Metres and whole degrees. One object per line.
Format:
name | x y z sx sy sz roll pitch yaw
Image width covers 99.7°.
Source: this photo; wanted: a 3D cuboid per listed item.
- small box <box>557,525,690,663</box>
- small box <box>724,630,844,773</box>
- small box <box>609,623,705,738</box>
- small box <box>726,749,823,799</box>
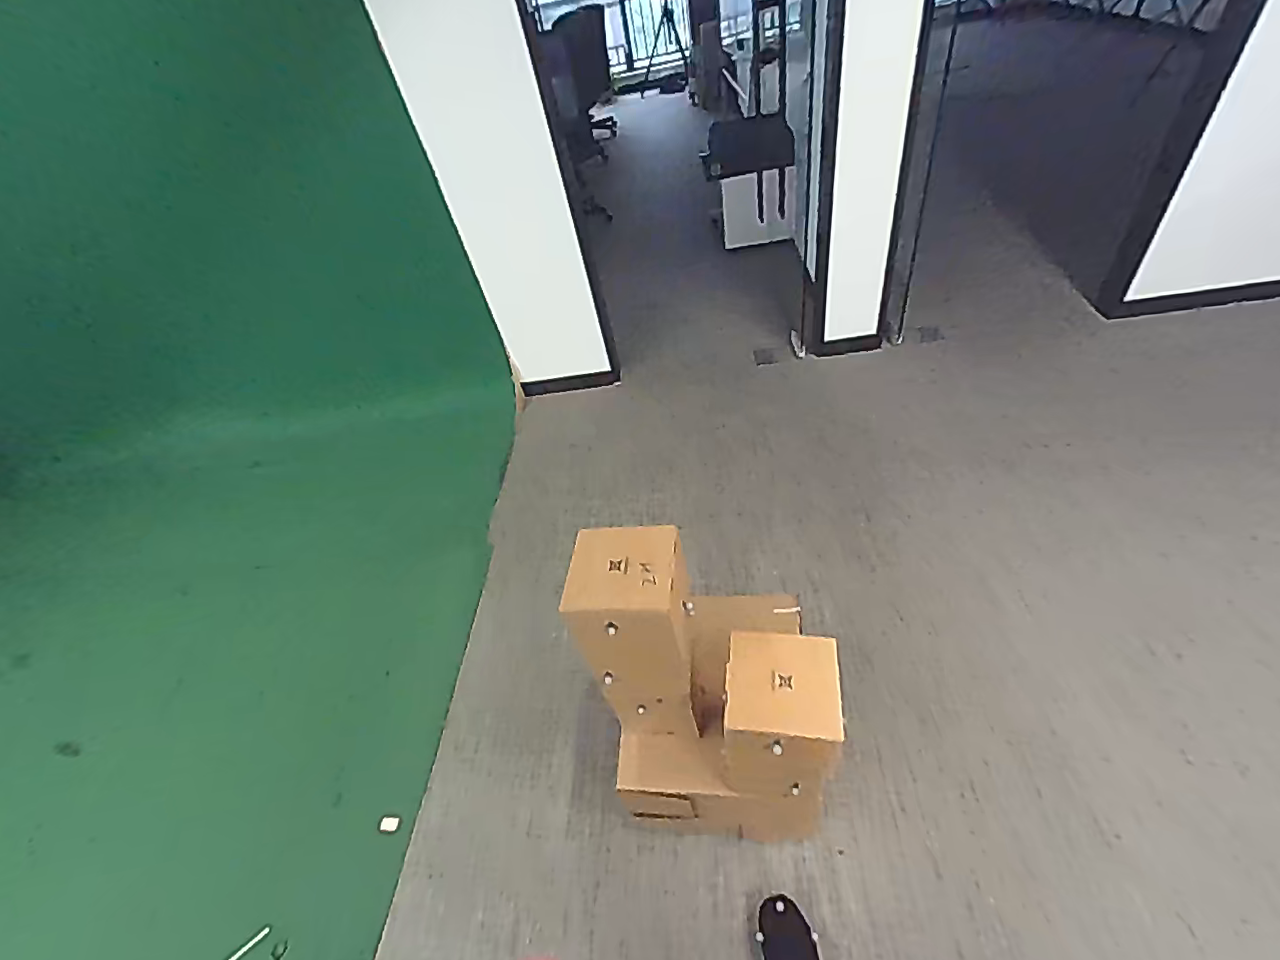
small box | -0.017 0.195 0.911 0.179 0.176 0.168 -3 44 13
small box | 0.236 0.373 0.907 0.179 0.176 0.168 0 45 13
small box | 0.045 0.419 1.146 0.168 0.176 0.179 -2 44 14
small box | 0.254 0.482 1.027 0.168 0.176 0.179 0 44 13
